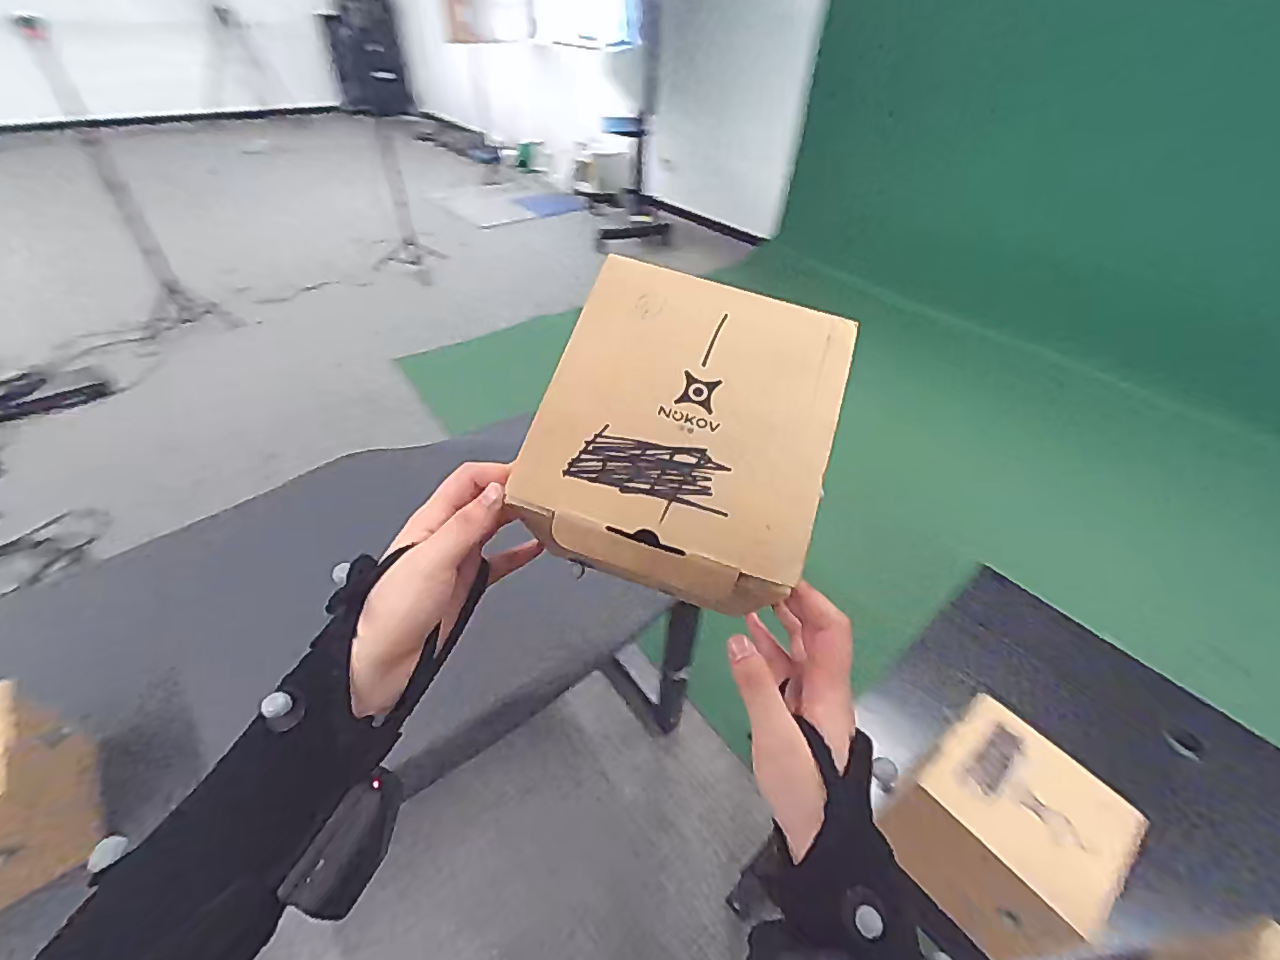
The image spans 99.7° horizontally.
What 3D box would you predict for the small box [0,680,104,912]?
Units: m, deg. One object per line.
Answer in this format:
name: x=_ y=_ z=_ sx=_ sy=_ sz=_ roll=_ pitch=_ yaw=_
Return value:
small box: x=-0.737 y=0.367 z=0.591 sx=0.179 sy=0.176 sz=0.168 roll=-28 pitch=48 yaw=-29
